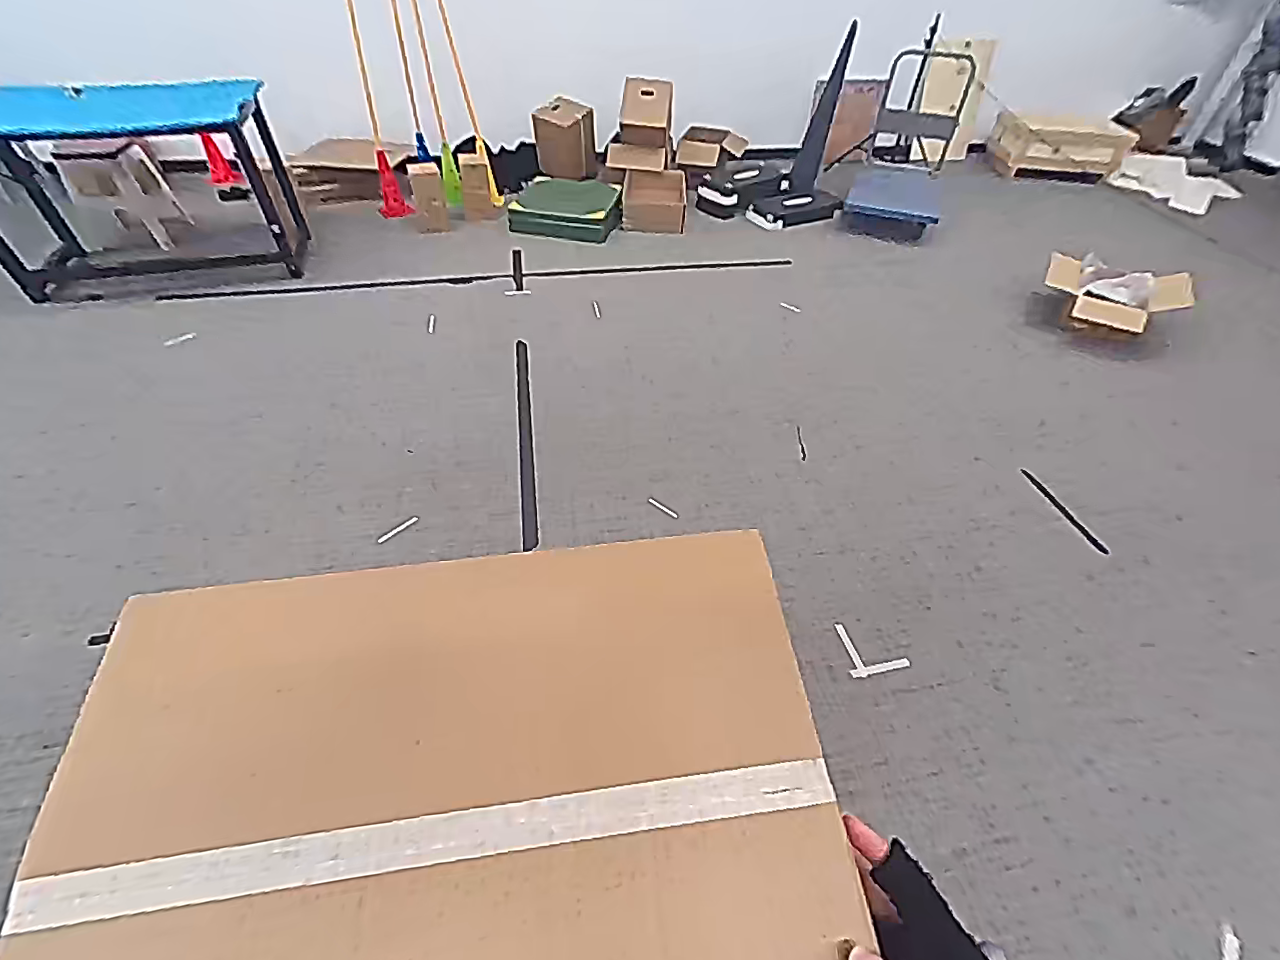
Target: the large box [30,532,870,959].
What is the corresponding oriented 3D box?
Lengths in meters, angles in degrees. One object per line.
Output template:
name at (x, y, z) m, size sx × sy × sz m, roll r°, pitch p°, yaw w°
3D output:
large box at (-0.099, 0.266, 0.414) m, size 0.408 × 0.320 × 0.320 m, roll -6°, pitch 59°, yaw -5°
